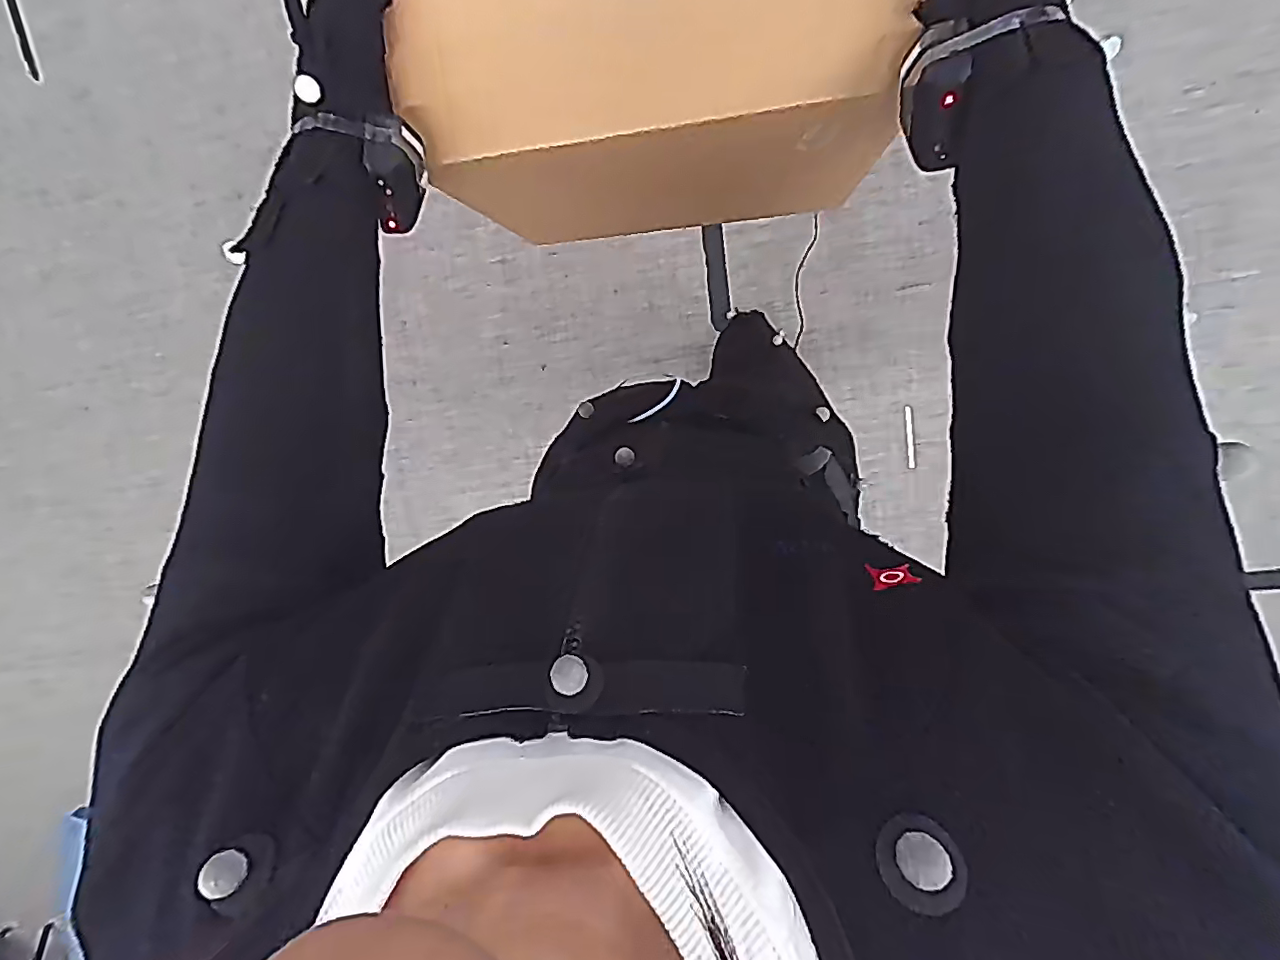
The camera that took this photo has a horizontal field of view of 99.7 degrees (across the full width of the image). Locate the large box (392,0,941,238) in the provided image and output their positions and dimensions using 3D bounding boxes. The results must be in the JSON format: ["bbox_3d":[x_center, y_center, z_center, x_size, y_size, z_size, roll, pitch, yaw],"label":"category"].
[{"bbox_3d":[0.019,-0.455,0.524,0.408,0.320,0.320,-4,102,9],"label":"large box"}]
